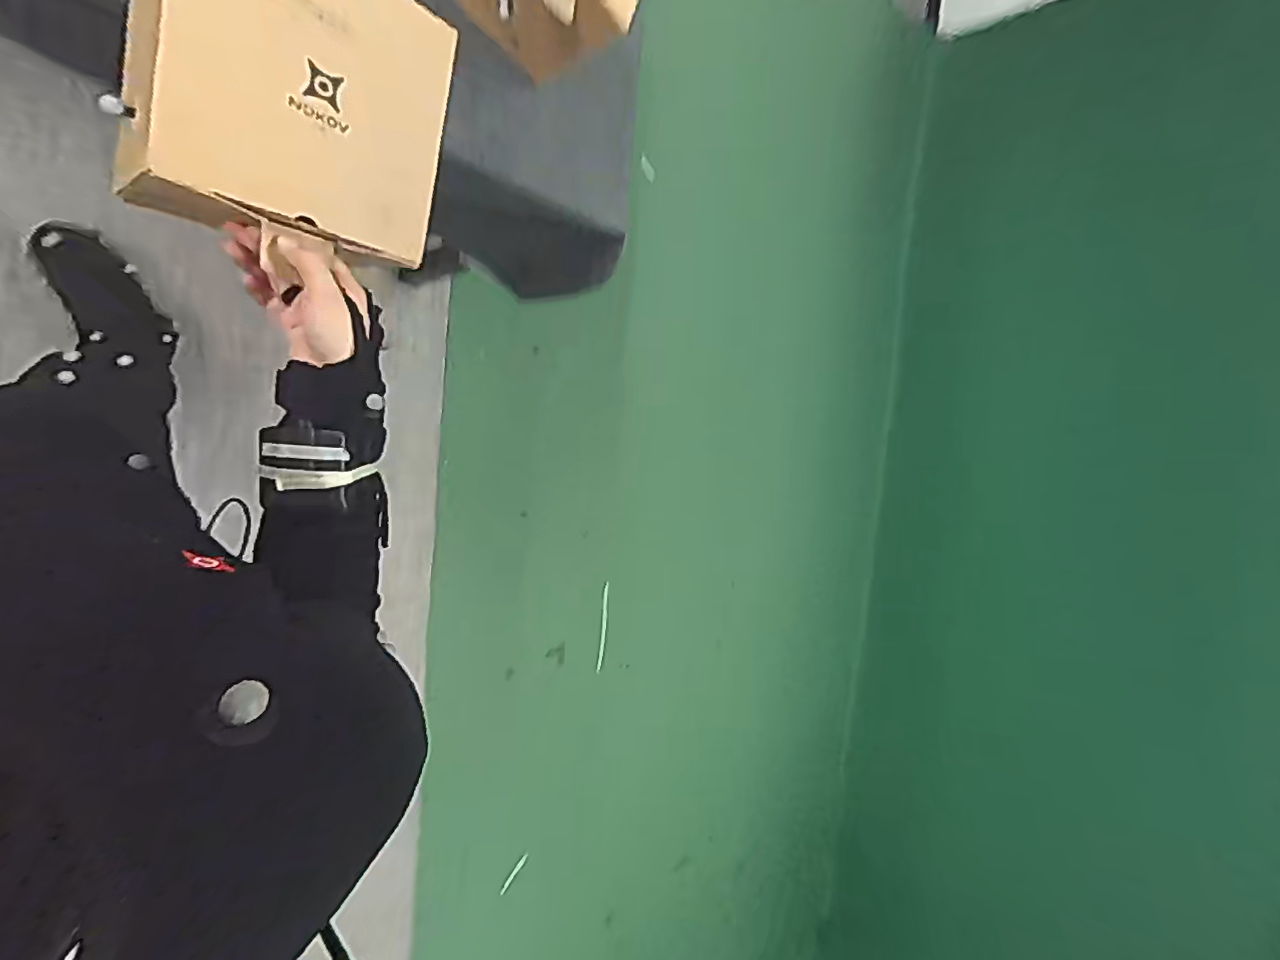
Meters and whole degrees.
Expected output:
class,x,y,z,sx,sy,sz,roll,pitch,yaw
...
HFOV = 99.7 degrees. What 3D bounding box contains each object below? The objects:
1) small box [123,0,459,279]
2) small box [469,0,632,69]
class,x,y,z,sx,sy,sz,roll,pitch,yaw
small box,-0.266,-0.267,0.409,0.168,0.176,0.179,2,103,-50
small box,-0.104,-0.632,0.615,0.168,0.176,0.179,23,81,-46
